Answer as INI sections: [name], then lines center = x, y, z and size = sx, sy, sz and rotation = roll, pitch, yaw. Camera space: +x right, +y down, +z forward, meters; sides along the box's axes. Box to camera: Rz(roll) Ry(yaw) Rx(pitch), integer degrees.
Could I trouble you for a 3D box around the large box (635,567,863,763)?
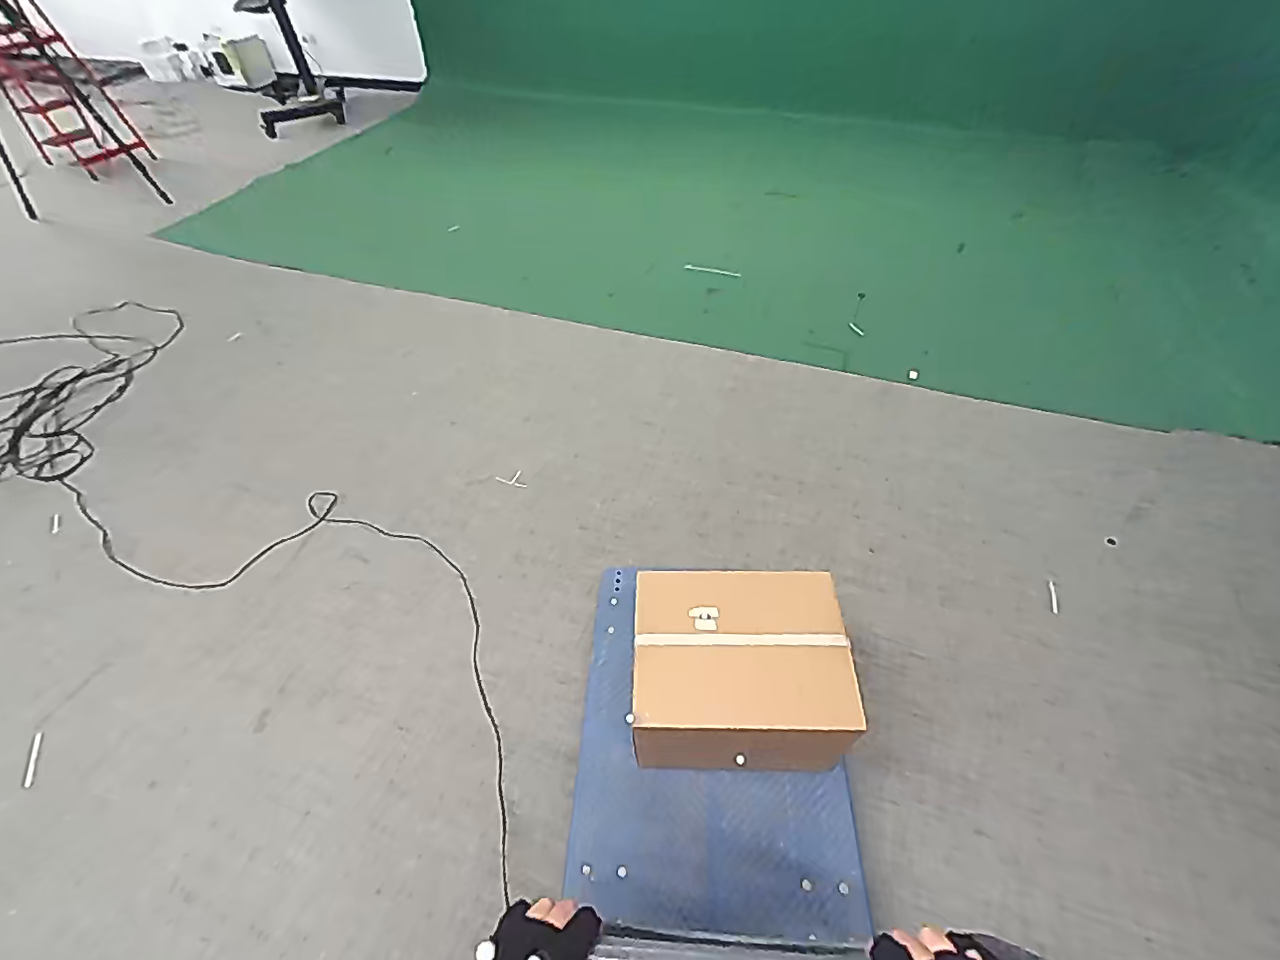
[large box]
center = 0.199, 0.402, 1.152
size = 0.408, 0.320, 0.320
rotation = -1, 49, 2
